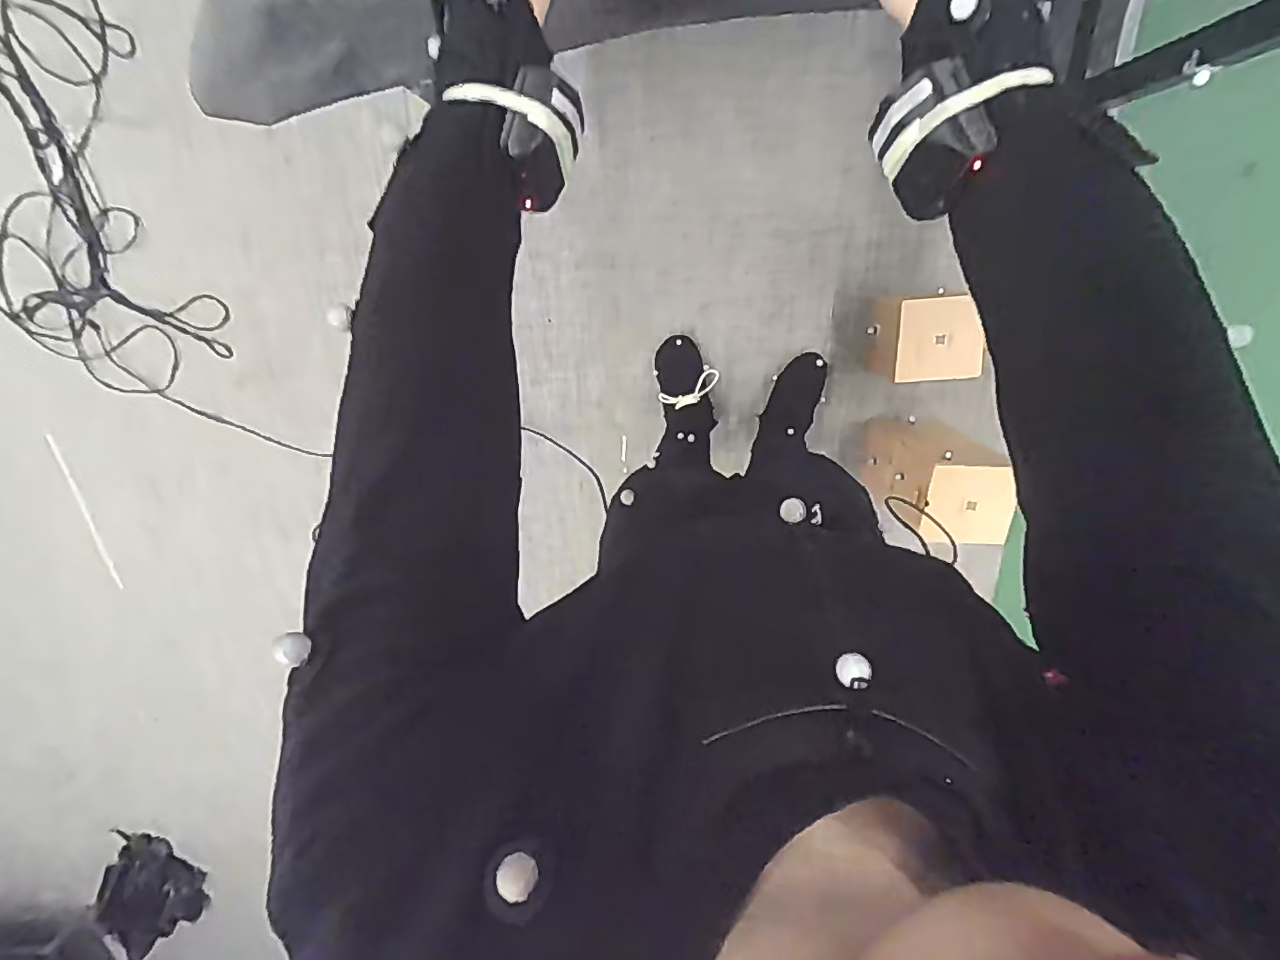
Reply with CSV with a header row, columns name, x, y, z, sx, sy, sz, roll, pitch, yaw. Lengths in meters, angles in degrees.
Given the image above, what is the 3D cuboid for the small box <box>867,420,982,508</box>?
name,x,y,z,sx,sy,sz,roll,pitch,yaw
small box,0.644,-0.039,1.250,0.179,0.176,0.168,1,112,4

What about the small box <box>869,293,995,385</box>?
name,x,y,z,sx,sy,sz,roll,pitch,yaw
small box,0.610,-0.304,1.150,0.179,0.176,0.168,-4,110,5

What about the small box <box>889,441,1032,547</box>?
name,x,y,z,sx,sy,sz,roll,pitch,yaw
small box,0.638,0.023,1.099,0.179,0.176,0.168,1,112,2
